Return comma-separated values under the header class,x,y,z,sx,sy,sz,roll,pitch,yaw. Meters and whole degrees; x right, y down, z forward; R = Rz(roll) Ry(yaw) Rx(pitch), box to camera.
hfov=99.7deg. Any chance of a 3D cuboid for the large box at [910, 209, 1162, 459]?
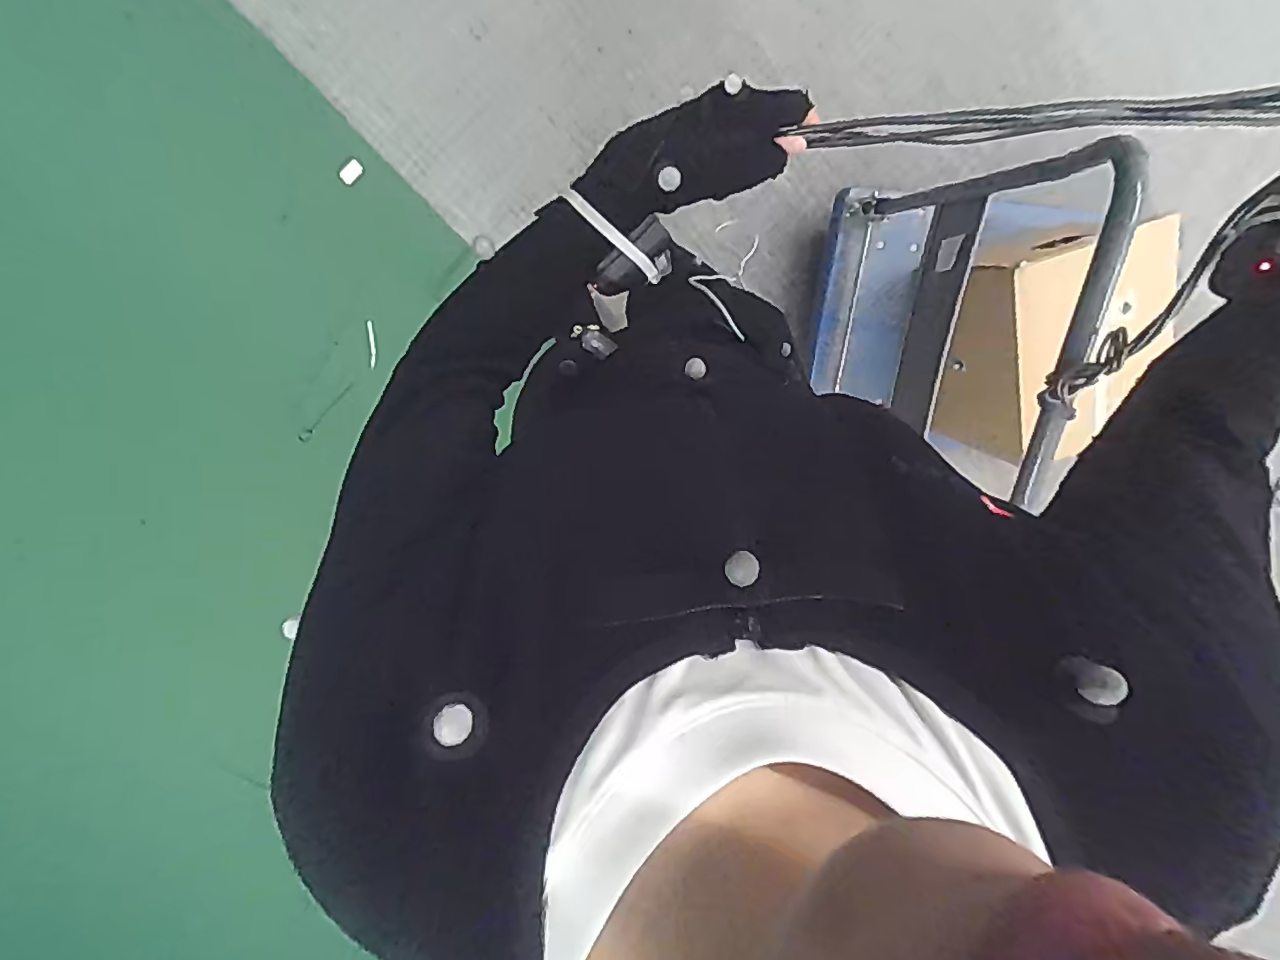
class,x,y,z,sx,sy,sz,roll,pitch,yaw
large box,0.839,-0.313,1.178,0.320,0.320,0.408,-19,111,0
